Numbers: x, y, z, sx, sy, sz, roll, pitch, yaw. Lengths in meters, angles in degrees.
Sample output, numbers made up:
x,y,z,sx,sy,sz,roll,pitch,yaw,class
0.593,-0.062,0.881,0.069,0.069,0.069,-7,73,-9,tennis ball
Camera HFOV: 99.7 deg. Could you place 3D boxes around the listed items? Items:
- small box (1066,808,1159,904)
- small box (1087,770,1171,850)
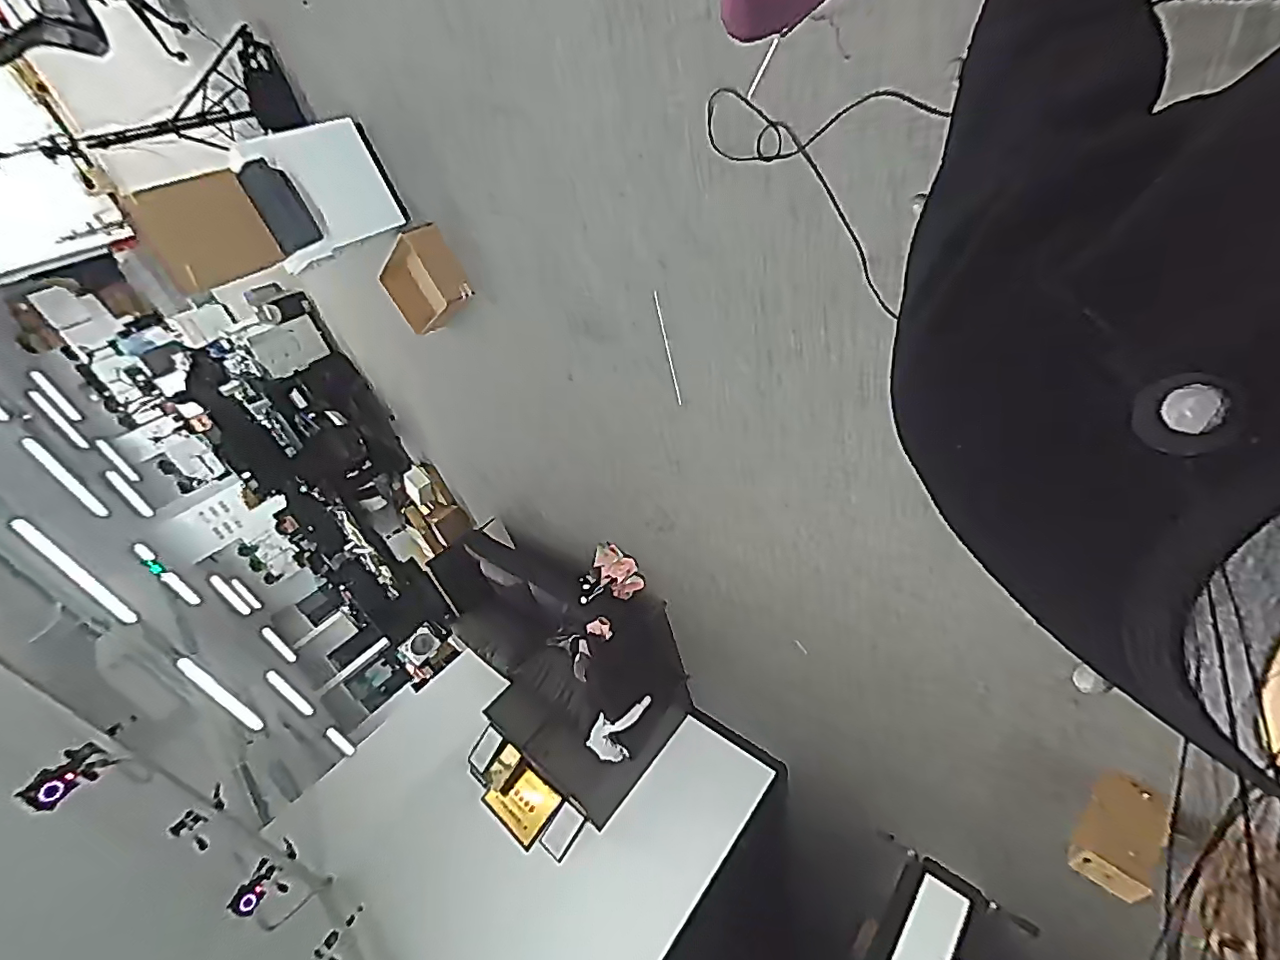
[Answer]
x,y,z,sx,sy,sz,roll,pitch,yaw,class
1.542,1.220,1.762,0.179,0.176,0.168,25,140,33,small box
1.661,1.137,1.841,0.168,0.176,0.179,25,140,33,small box
